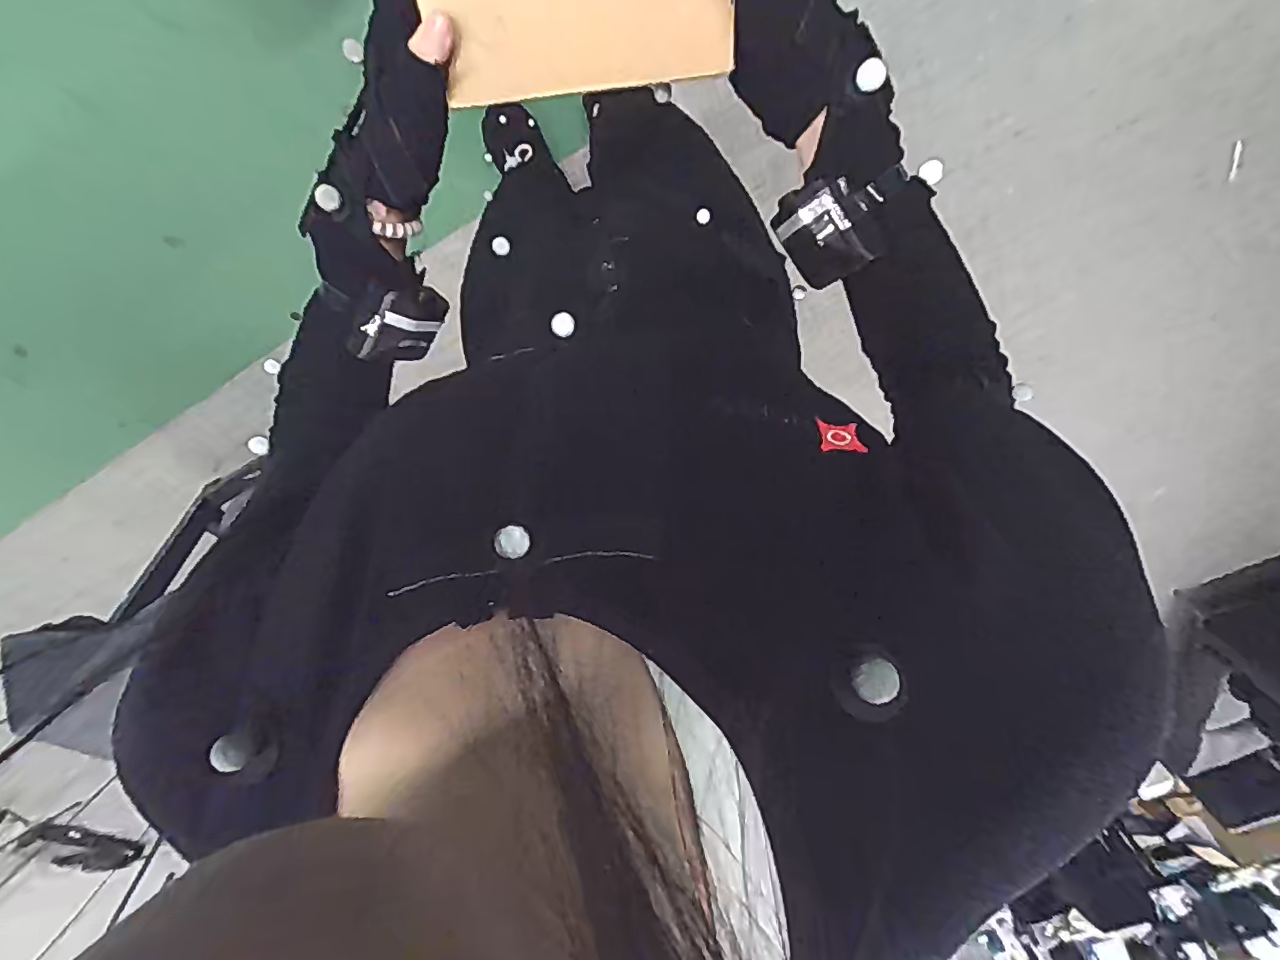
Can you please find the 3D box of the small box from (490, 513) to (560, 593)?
[{"bbox_3d":[-0.387,0.241,1.814,0.179,0.176,0.168,-24,131,8],"label":"small box"}]
